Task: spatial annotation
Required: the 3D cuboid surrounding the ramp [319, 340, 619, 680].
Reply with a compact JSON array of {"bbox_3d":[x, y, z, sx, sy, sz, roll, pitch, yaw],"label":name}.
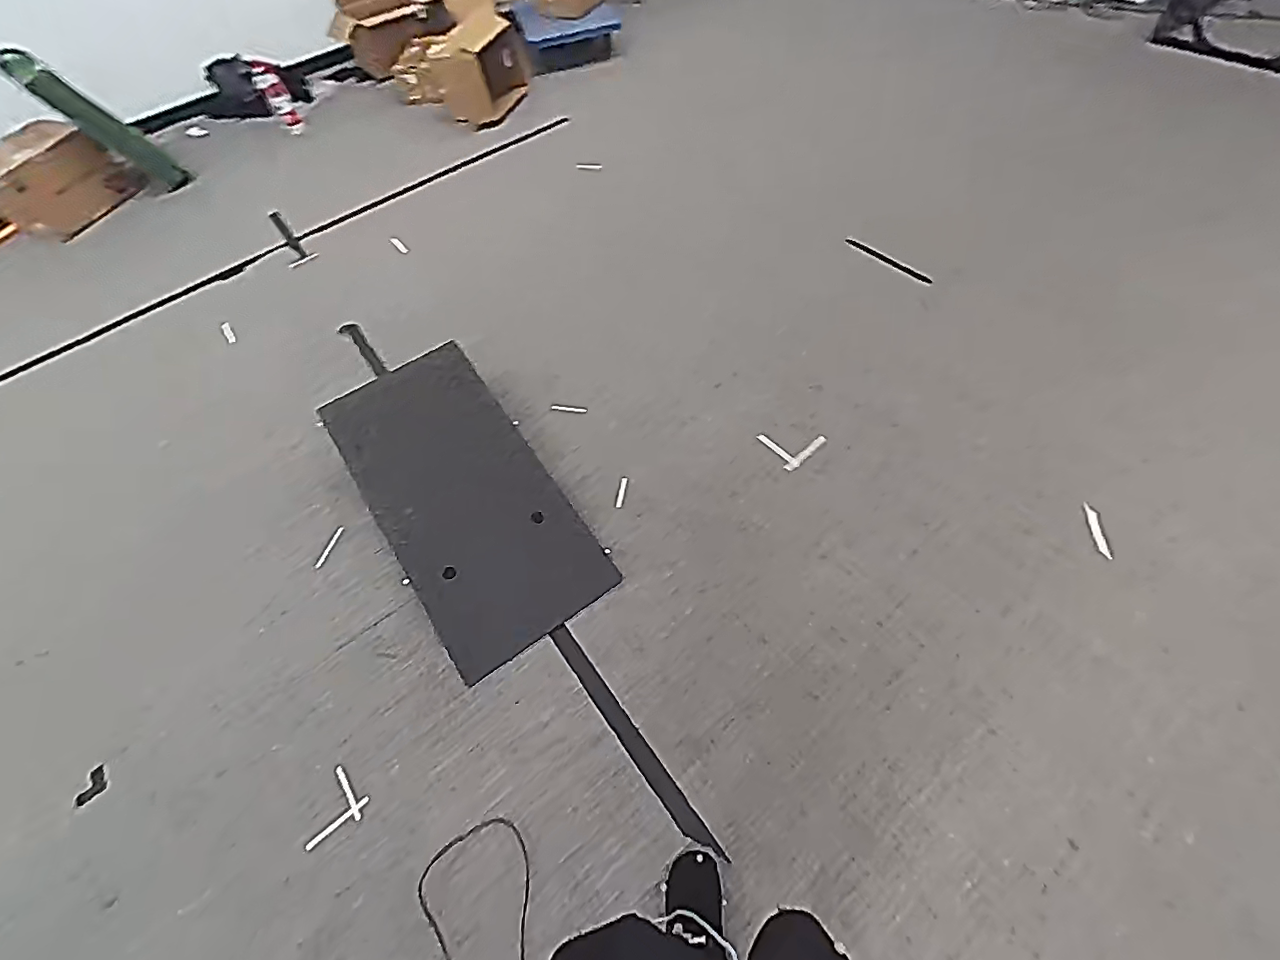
[{"bbox_3d":[-0.530,0.024,1.614,0.509,0.206,0.991,-34,61,-16],"label":"ramp"}]
